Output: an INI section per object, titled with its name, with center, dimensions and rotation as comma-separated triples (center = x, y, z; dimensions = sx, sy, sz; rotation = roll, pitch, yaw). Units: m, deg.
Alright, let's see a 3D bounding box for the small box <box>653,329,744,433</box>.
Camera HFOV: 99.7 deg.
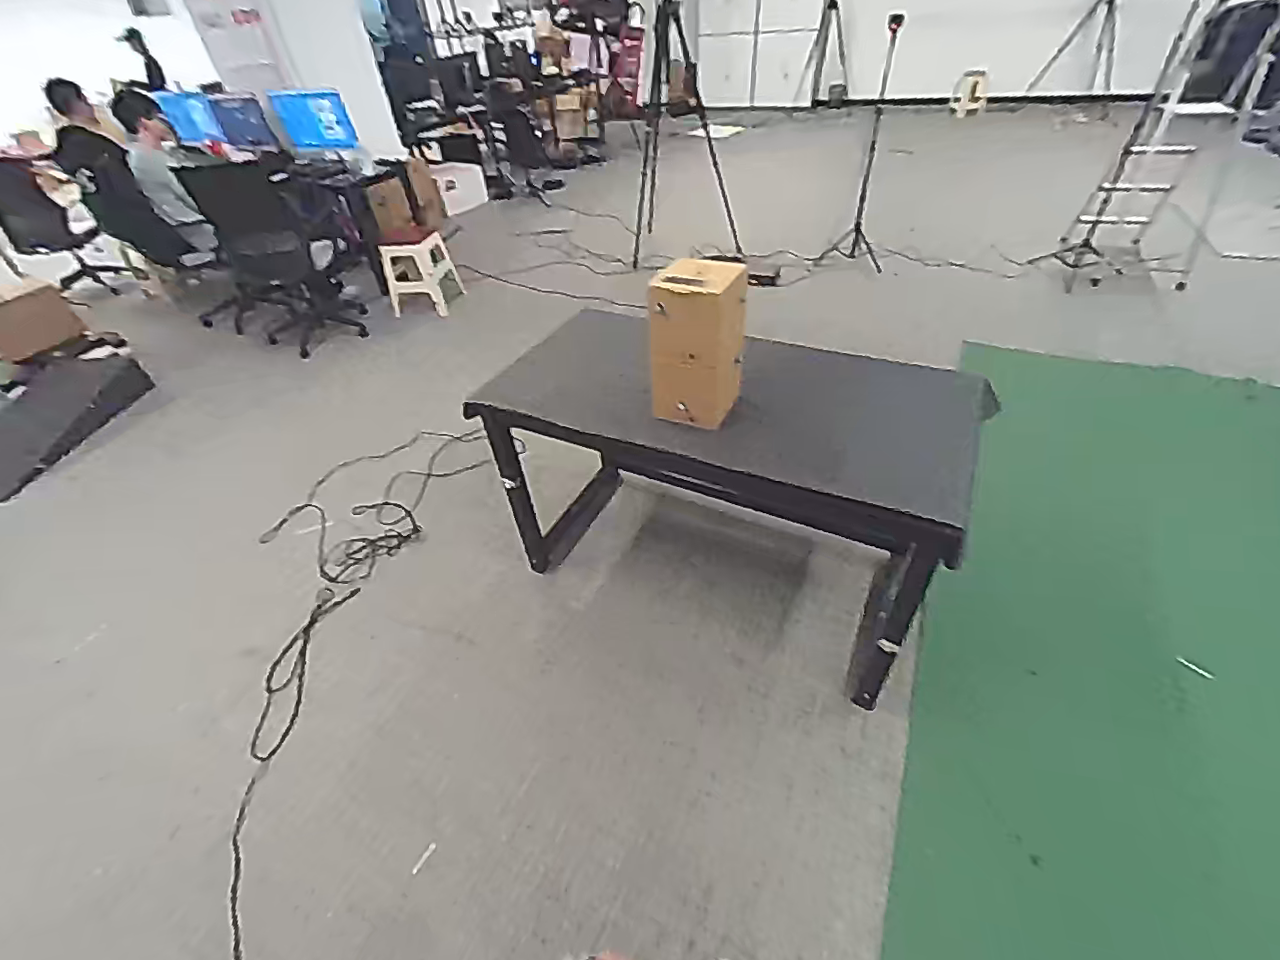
[small box]
center = 0.141, -0.242, 1.311
dimensions = 0.168, 0.176, 0.179
rotation = 16, 45, 22
